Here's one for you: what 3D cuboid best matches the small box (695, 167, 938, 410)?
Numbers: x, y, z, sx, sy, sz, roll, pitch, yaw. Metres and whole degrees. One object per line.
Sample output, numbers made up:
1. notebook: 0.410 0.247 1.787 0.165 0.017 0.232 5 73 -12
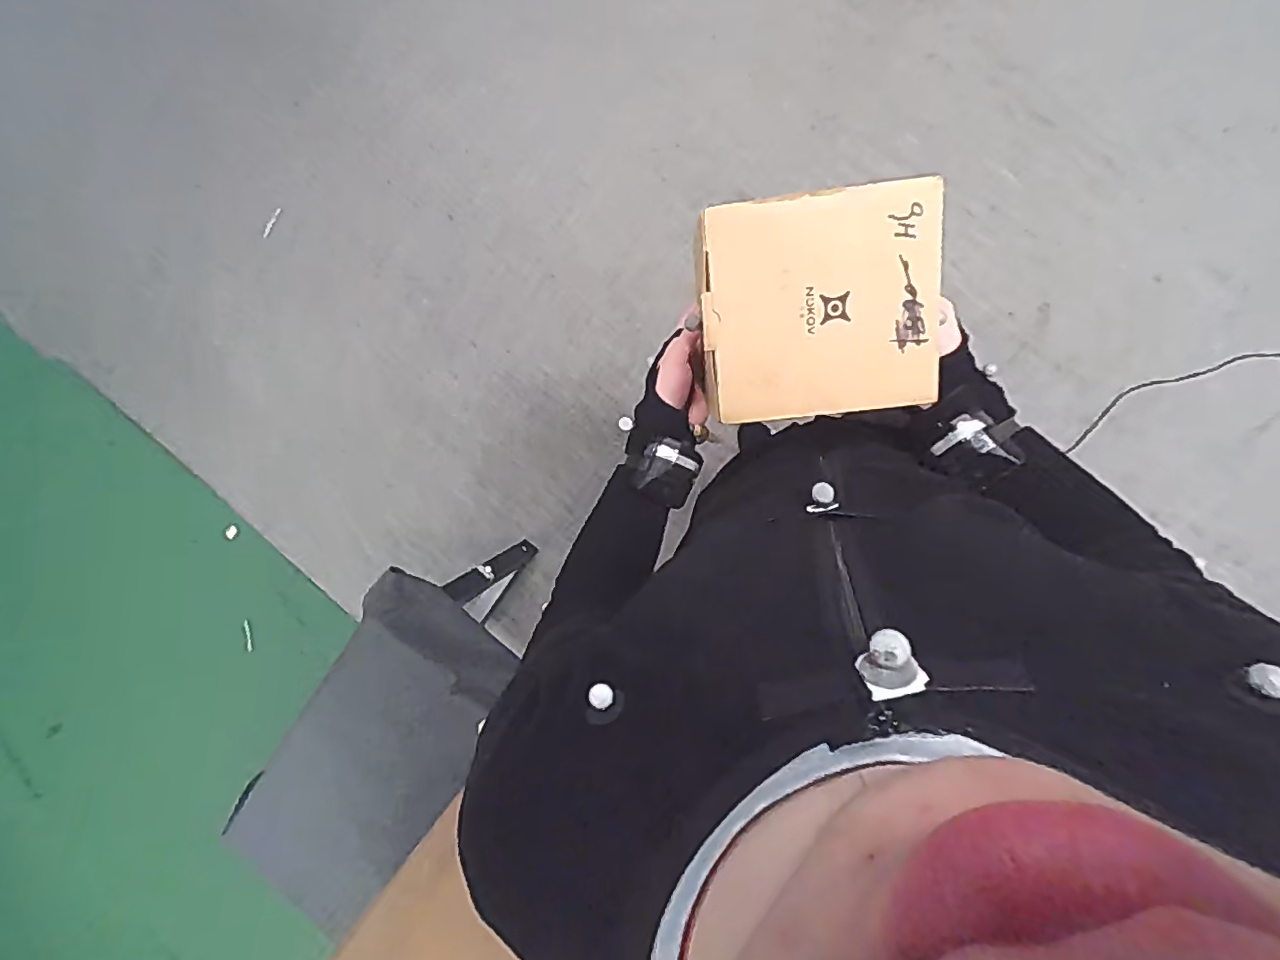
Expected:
1. small box: 0.143 -0.161 0.494 0.179 0.176 0.168 -5 106 6
